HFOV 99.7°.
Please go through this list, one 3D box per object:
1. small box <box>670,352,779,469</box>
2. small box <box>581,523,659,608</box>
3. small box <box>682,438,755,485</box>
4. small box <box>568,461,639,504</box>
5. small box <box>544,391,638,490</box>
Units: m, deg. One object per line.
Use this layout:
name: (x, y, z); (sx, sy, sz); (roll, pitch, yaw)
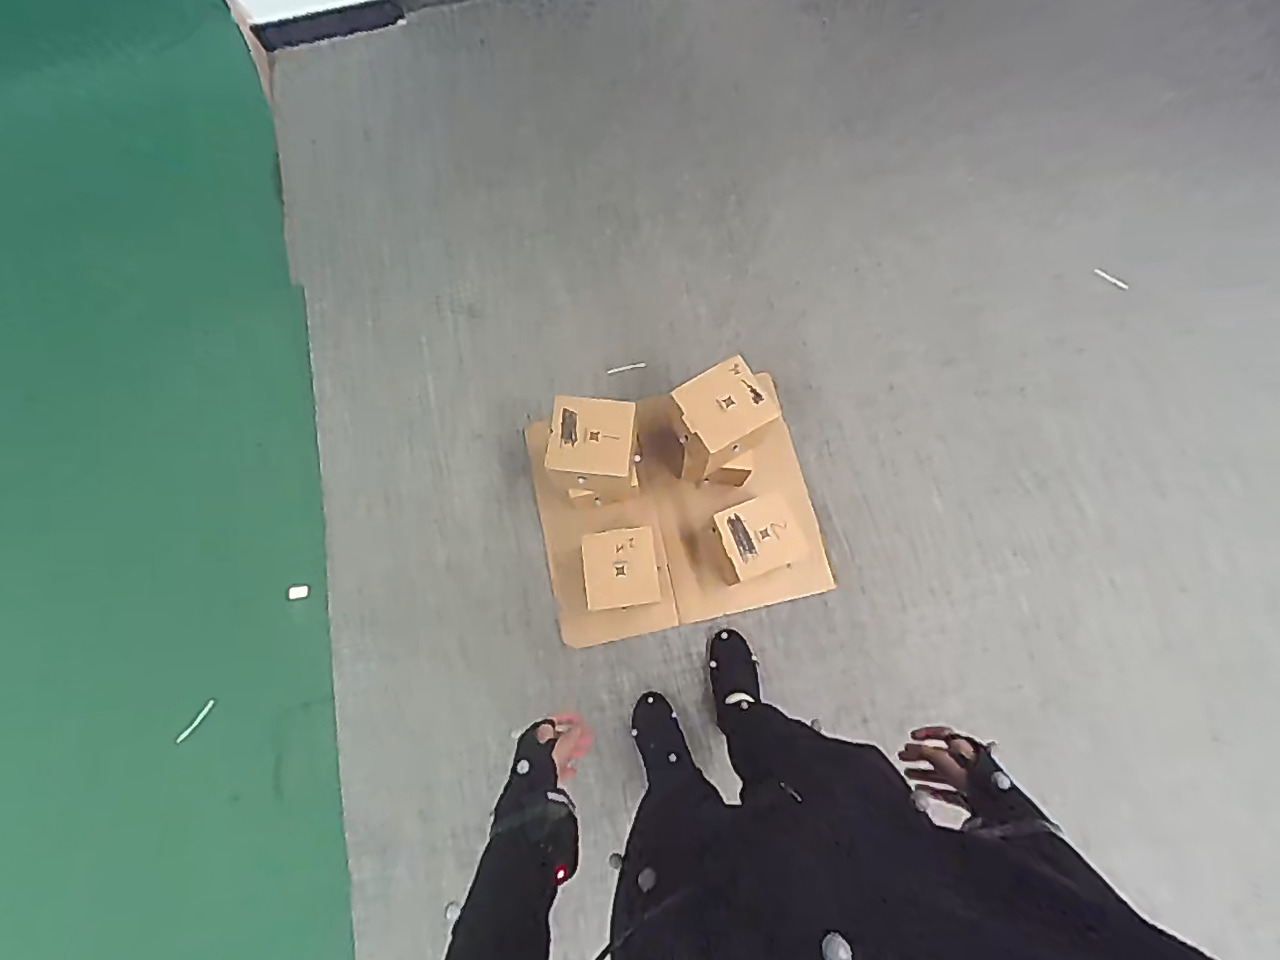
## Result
small box: (0.180, -0.145, 1.203); (0.179, 0.176, 0.168); (-29, 77, -5)
small box: (-0.043, 0.208, 1.290); (0.168, 0.176, 0.179); (-7, 76, -1)
small box: (0.196, -0.100, 1.360); (0.168, 0.176, 0.179); (6, 76, 3)
small box: (-0.097, -0.043, 1.355); (0.168, 0.176, 0.179); (-11, 75, -2)
small box: (-0.100, -0.080, 1.195); (0.179, 0.176, 0.168); (6, 76, 2)
